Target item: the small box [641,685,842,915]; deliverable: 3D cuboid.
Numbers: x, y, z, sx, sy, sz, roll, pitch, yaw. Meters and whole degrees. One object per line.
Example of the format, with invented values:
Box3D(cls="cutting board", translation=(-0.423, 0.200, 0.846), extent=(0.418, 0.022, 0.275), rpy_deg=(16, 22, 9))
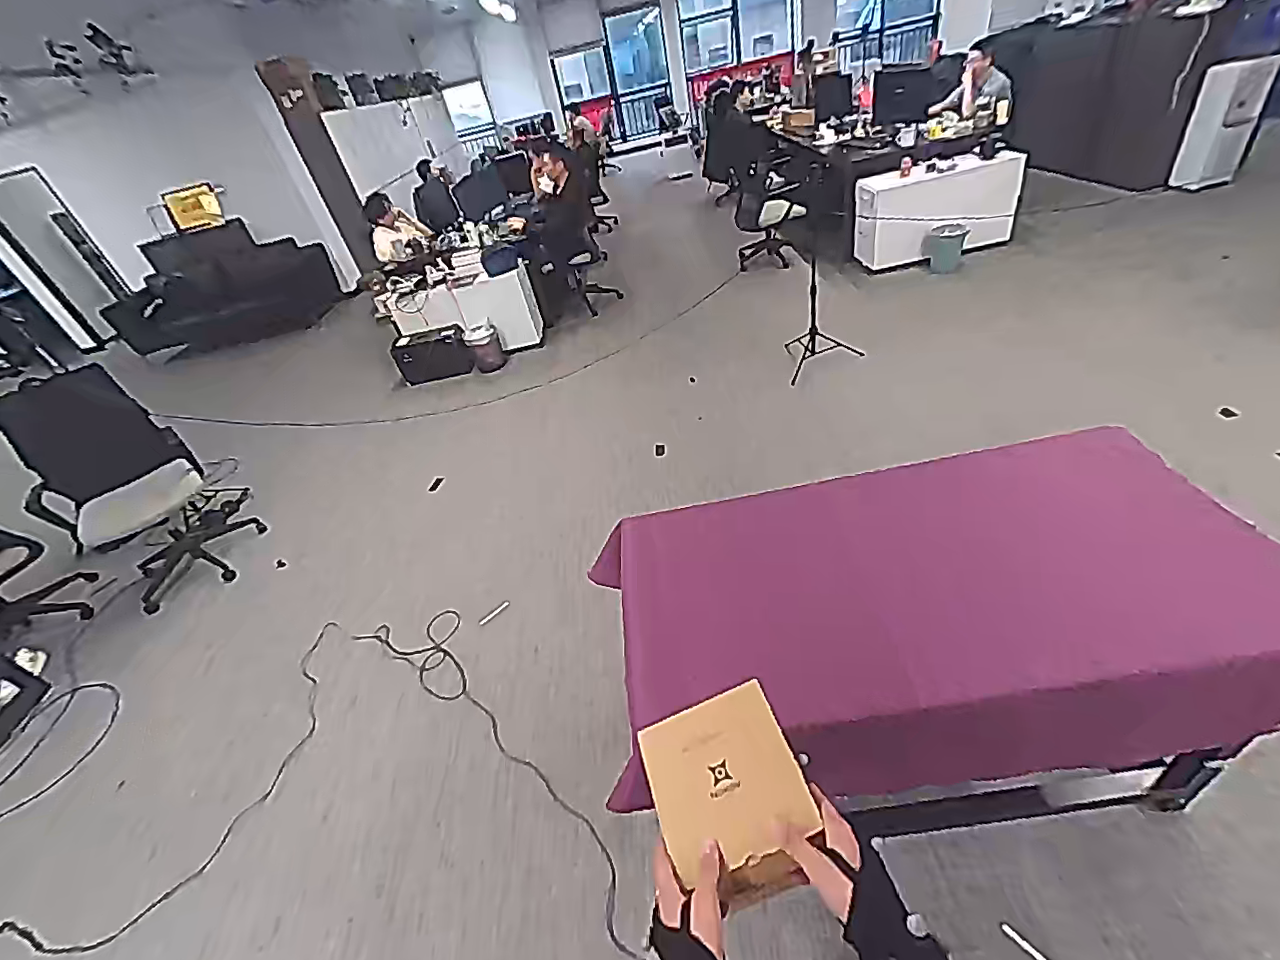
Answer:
Box3D(cls="small box", translation=(0.123, 0.387, 0.649), extent=(0.168, 0.176, 0.179), rpy_deg=(-25, 40, 2))
